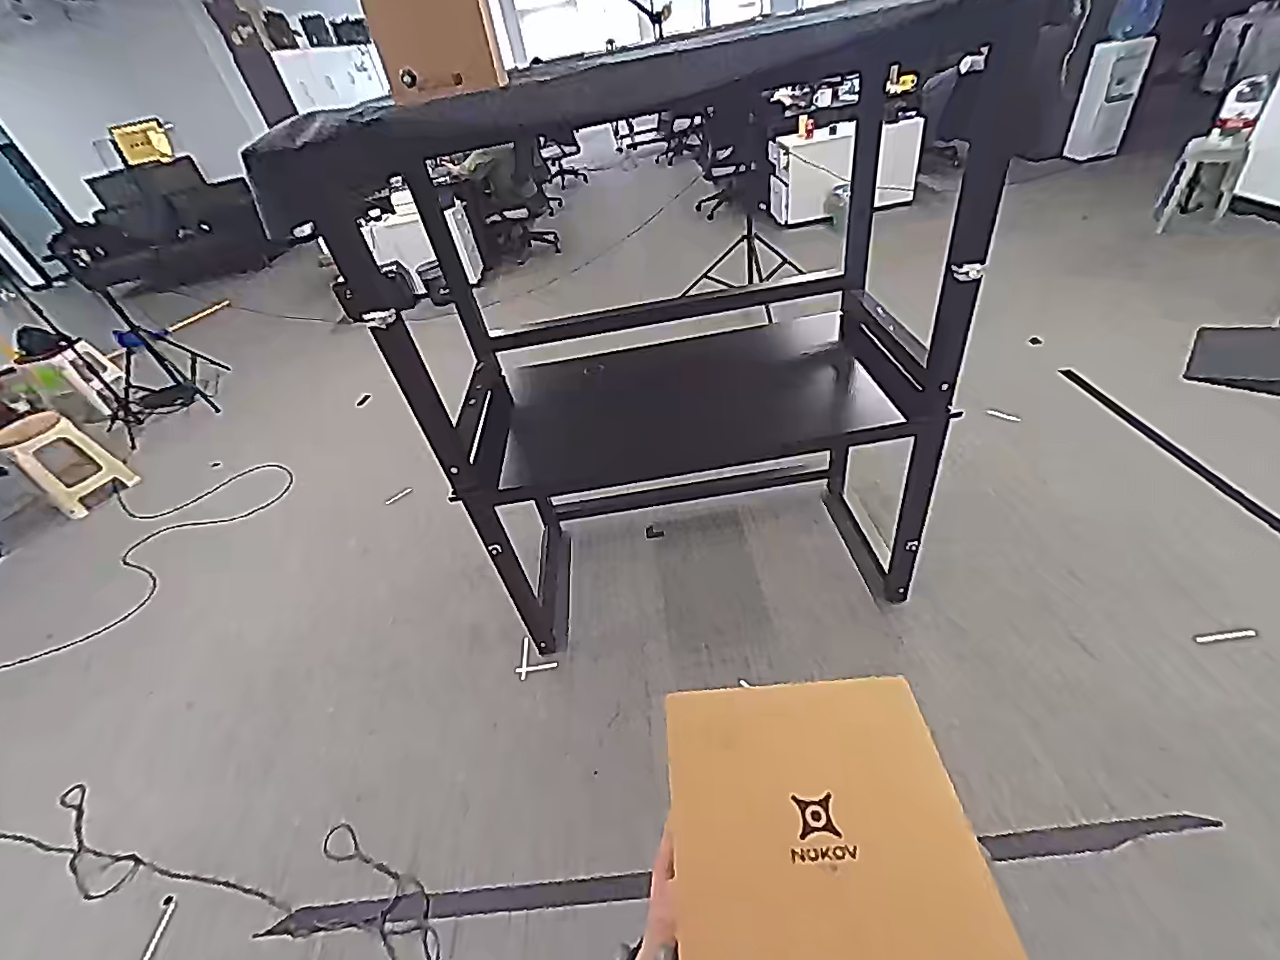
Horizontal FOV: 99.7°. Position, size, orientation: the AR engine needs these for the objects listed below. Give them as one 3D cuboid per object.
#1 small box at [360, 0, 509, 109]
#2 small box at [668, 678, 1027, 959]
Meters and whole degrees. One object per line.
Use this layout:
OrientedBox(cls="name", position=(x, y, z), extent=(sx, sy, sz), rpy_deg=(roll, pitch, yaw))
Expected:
OrientedBox(cls="small box", position=(-0.313, -0.699, 0.853), extent=(0.168, 0.176, 0.179), rpy_deg=(-10, 38, 0))
OrientedBox(cls="small box", position=(0.107, 0.257, 0.353), extent=(0.168, 0.176, 0.179), rpy_deg=(-6, 38, 3))
